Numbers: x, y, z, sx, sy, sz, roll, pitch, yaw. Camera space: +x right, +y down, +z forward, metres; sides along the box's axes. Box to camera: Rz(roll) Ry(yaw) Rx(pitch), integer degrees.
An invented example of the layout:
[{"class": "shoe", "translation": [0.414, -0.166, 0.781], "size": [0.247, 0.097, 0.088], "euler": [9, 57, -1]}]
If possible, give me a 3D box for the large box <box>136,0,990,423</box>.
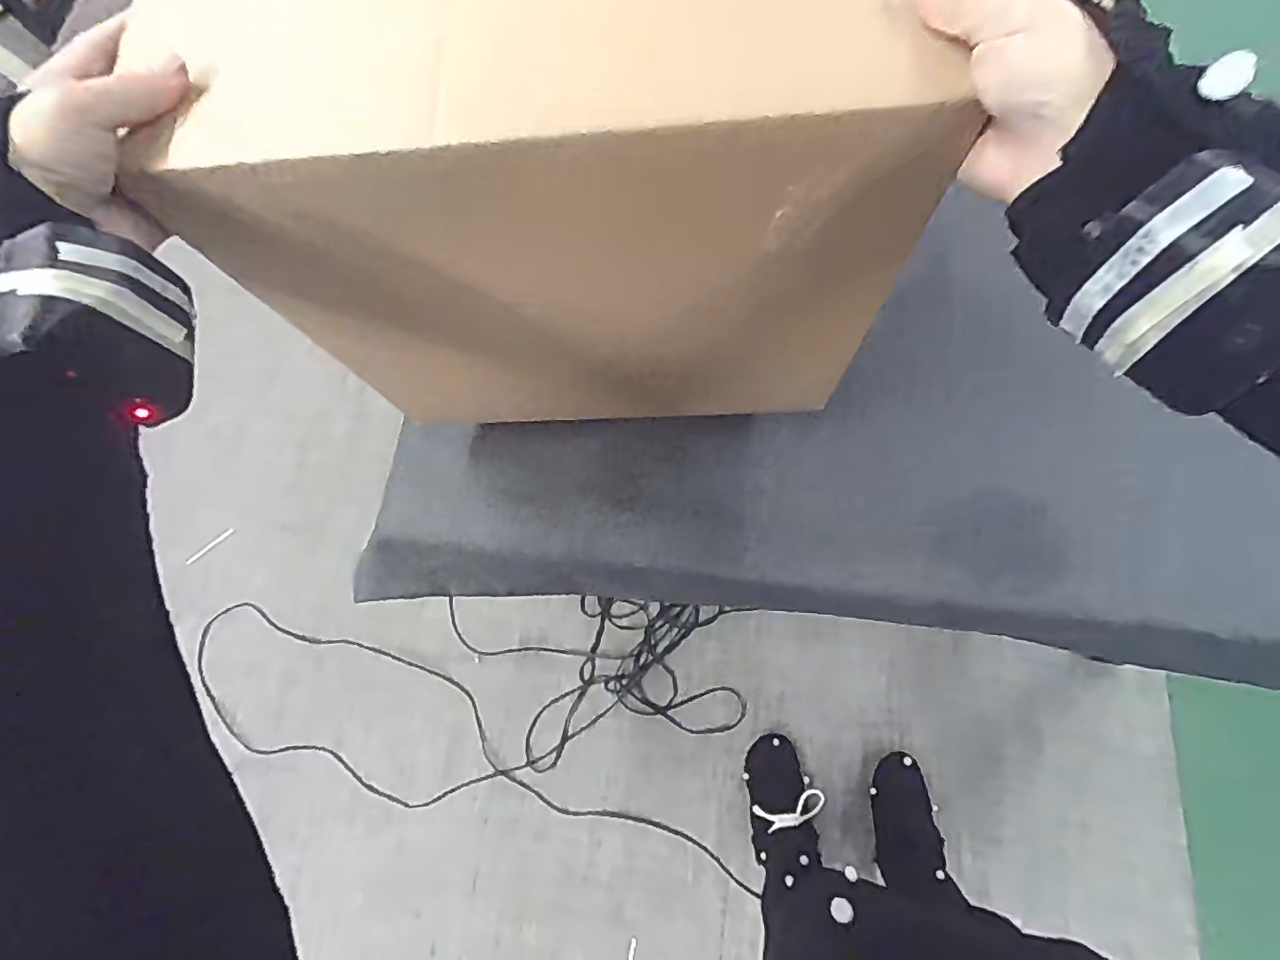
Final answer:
[{"class": "large box", "translation": [-0.037, -0.251, 0.432], "size": [0.408, 0.320, 0.320], "euler": [-2, 73, 3]}]
